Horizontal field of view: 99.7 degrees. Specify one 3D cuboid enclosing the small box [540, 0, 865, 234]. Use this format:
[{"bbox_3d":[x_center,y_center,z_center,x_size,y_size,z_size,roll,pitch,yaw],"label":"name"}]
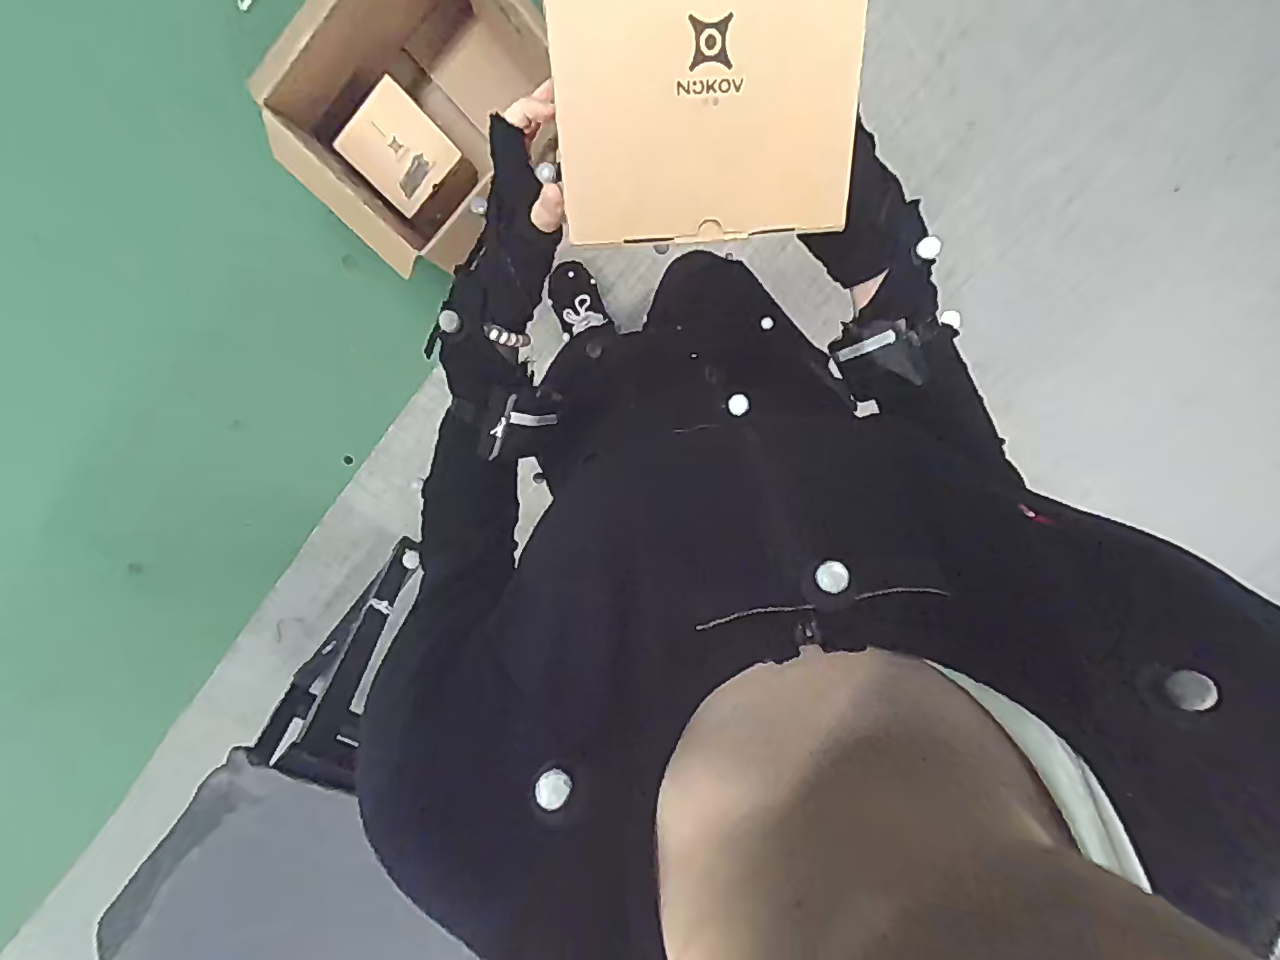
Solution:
[{"bbox_3d":[0.025,-0.258,0.347,0.168,0.176,0.179,-6,117,-5],"label":"small box"}]
